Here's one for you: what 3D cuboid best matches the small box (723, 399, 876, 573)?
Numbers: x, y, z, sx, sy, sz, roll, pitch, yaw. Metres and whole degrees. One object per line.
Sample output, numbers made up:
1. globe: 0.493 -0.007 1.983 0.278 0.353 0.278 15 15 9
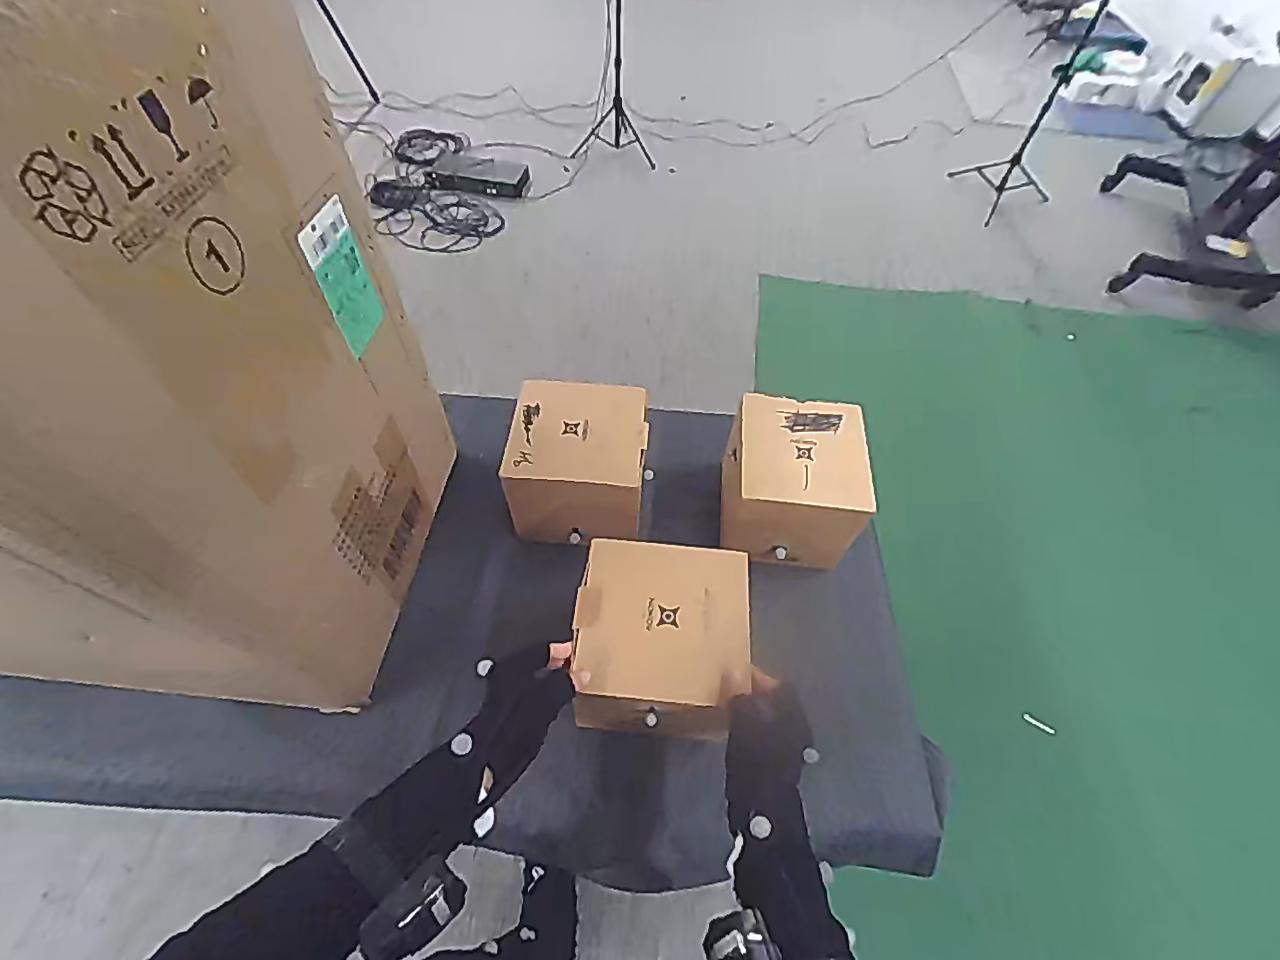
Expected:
1. small box: 0.214 0.011 0.774 0.168 0.176 0.179 7 56 2
